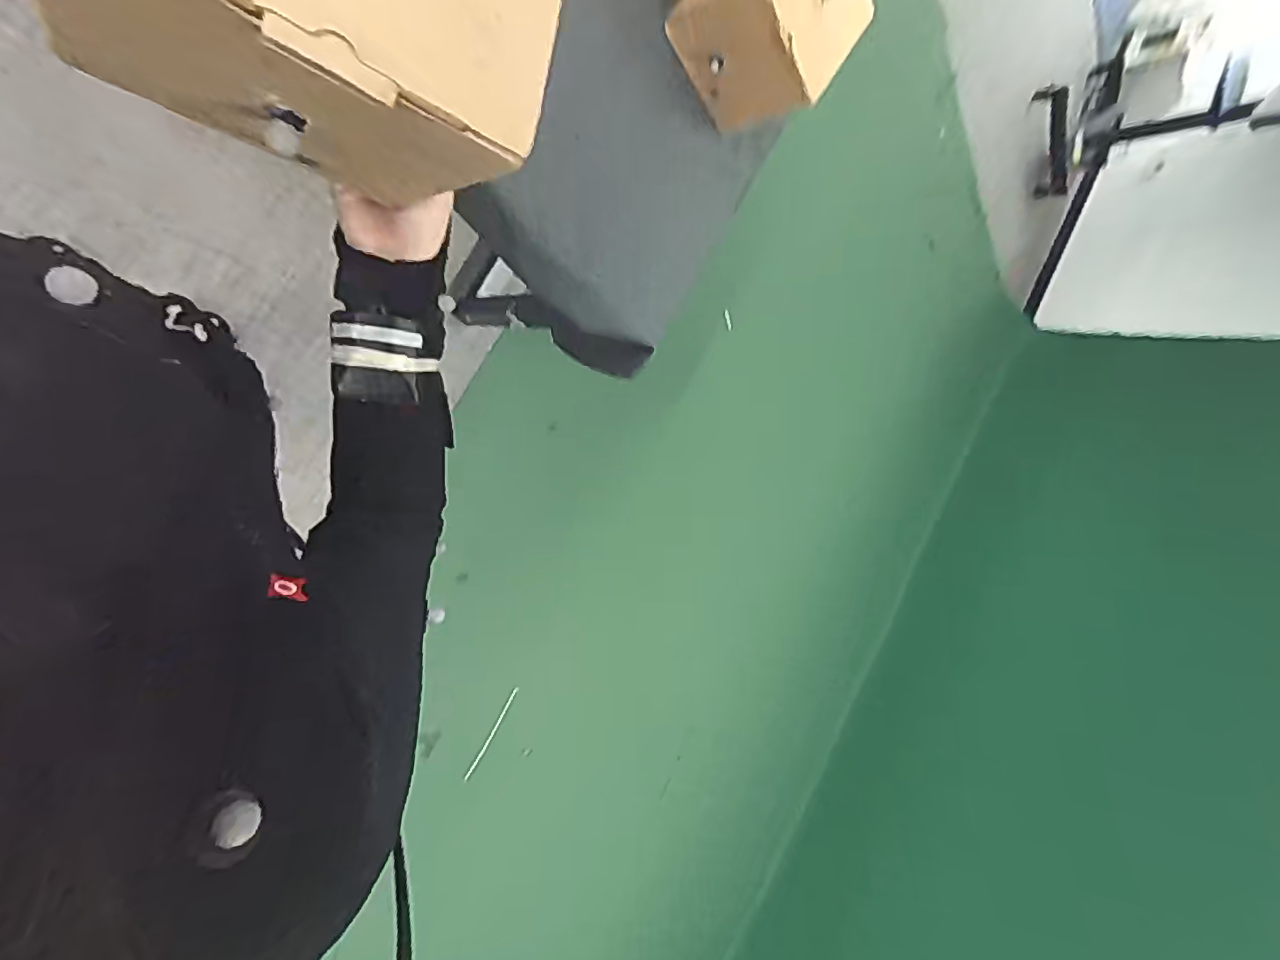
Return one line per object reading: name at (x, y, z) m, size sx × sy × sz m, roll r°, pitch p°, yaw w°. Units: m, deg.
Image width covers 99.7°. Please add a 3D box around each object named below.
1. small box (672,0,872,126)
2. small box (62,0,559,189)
small box at (0.175, -0.624, 0.728) m, size 0.168 × 0.176 × 0.179 m, roll 40°, pitch 79°, yaw -41°
small box at (-0.145, -0.261, 0.248) m, size 0.168 × 0.176 × 0.179 m, roll 7°, pitch 99°, yaw -45°
